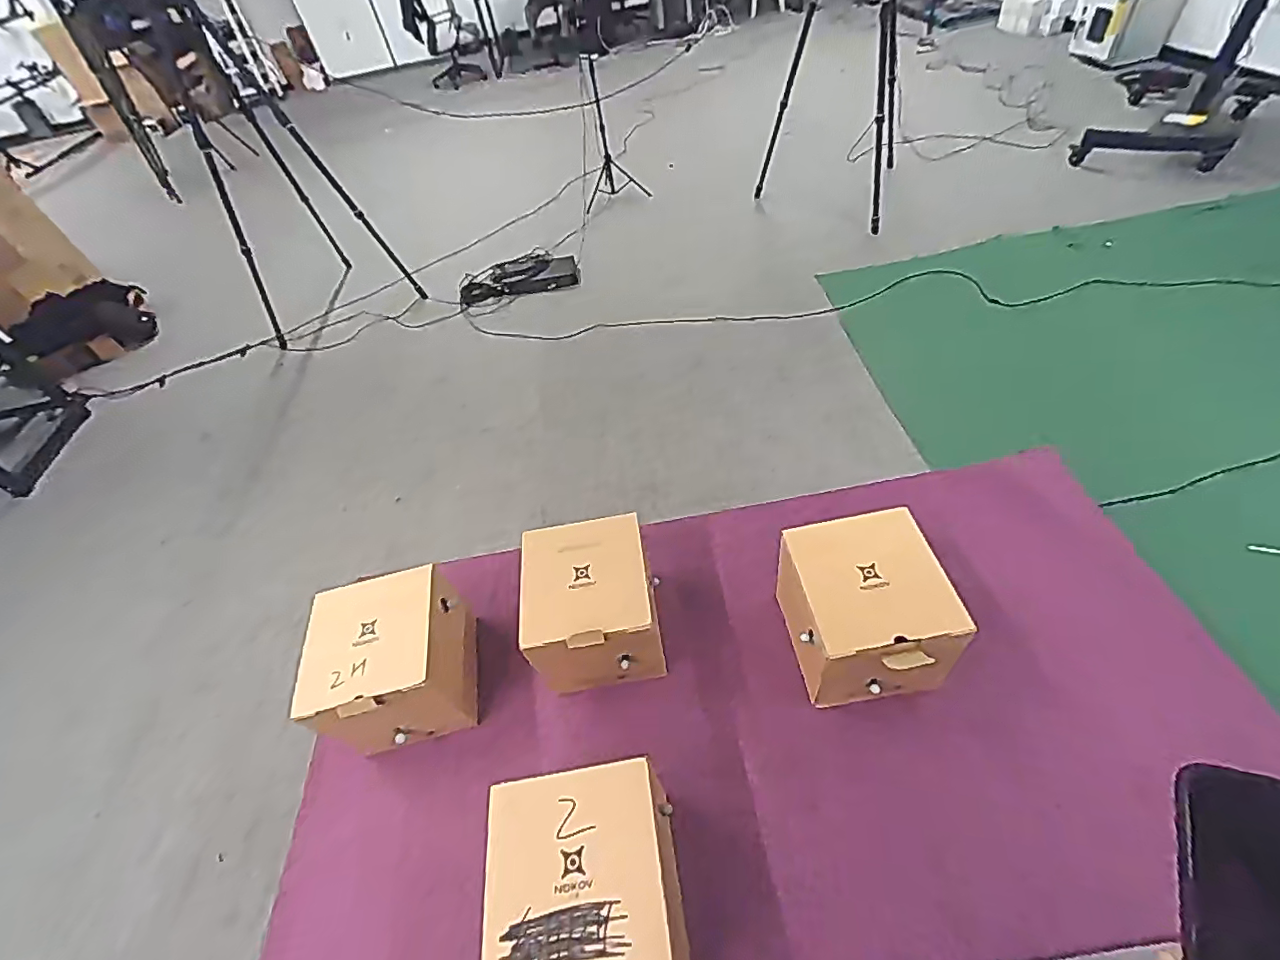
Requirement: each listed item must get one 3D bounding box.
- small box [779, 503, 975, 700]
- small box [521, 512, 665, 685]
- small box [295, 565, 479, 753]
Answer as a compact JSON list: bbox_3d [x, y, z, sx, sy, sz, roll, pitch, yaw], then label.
[{"bbox_3d":[0.286,0.160,0.703,0.168,0.176,0.179,-12,50,2],"label":"small box"},{"bbox_3d":[-0.062,0.174,0.763,0.168,0.176,0.179,-10,49,2],"label":"small box"},{"bbox_3d":[-0.333,0.251,0.752,0.168,0.176,0.179,-15,49,-1],"label":"small box"}]
